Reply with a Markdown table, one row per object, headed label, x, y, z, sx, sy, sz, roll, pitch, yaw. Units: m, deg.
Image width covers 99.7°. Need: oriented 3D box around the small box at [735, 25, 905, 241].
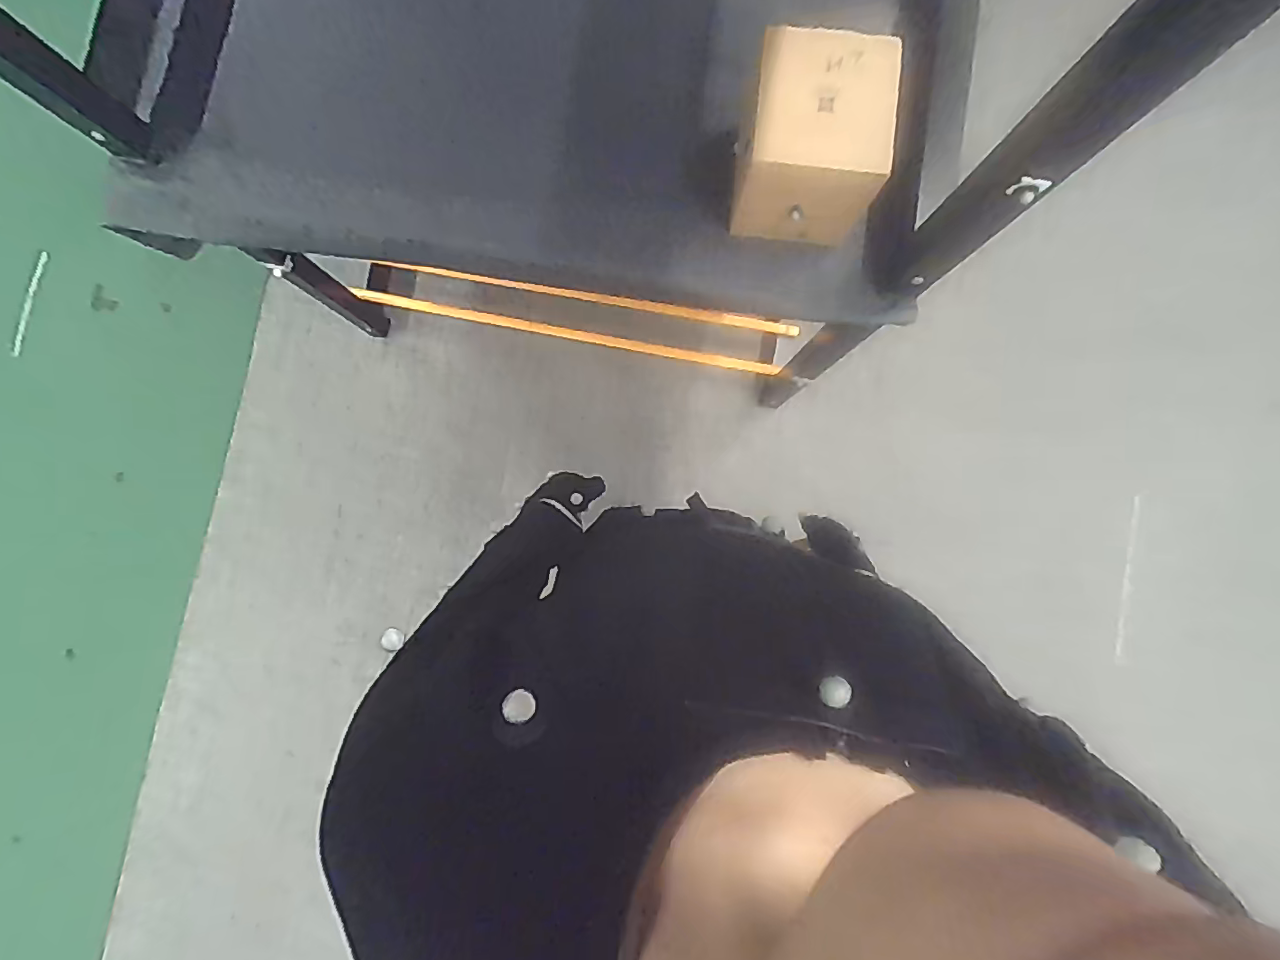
| label | x | y | z | sx | sy | sz | roll | pitch | yaw |
| --- | --- | --- | --- | --- | --- | --- | --- | --- | --- |
| small box | 0.226 | -0.446 | 0.721 | 0.168 | 0.176 | 0.179 | 7 | 86 | 0 |
